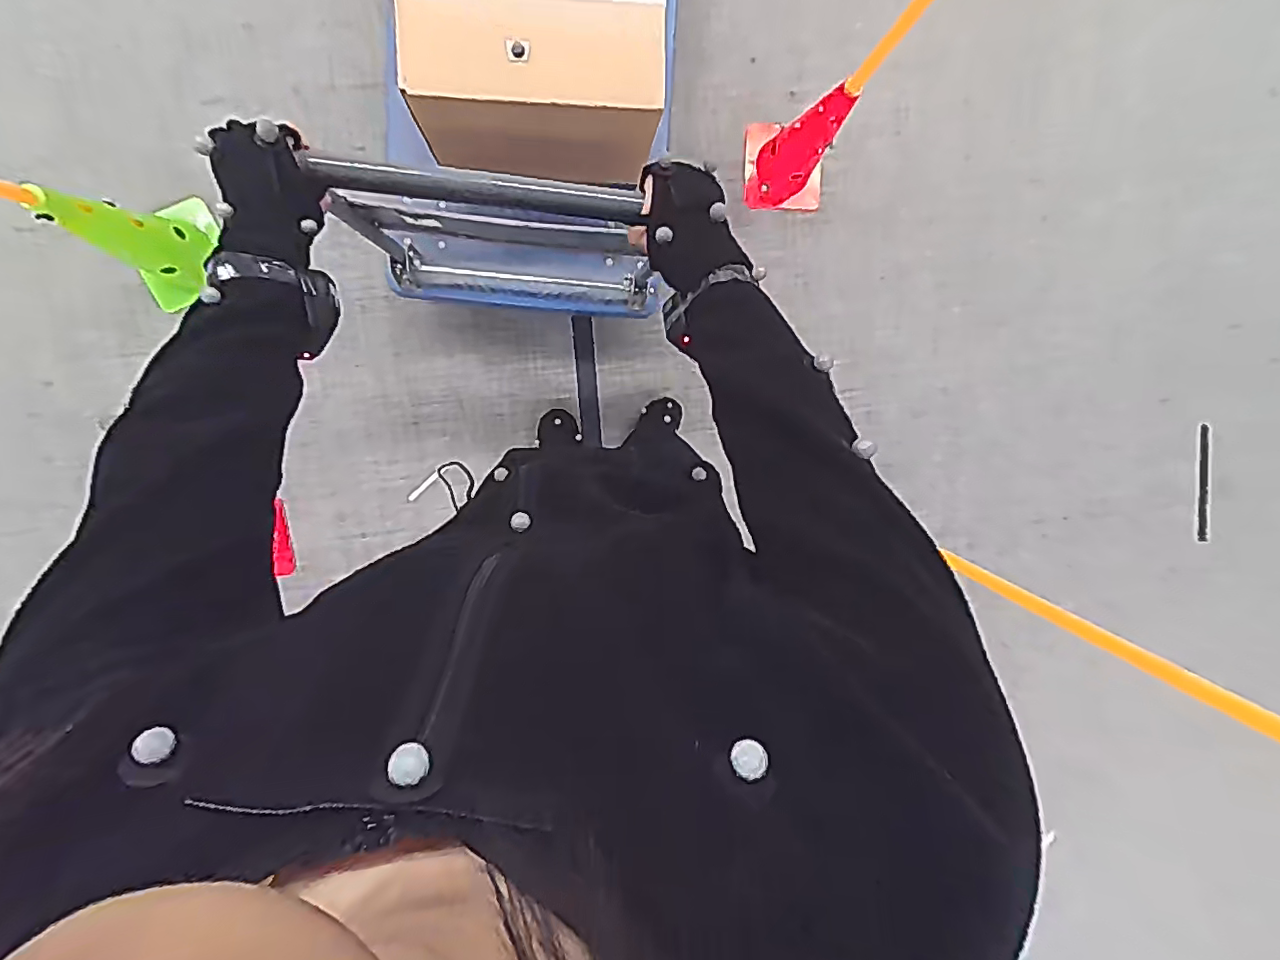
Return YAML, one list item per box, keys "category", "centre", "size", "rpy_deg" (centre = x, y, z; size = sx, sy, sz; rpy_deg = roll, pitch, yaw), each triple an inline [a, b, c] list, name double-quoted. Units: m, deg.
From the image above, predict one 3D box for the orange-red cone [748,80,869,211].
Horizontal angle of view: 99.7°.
- category: "orange-red cone"
  centre: [0.398, -0.766, 1.198]
  size: [0.199, 0.360, 0.198]
  rpy_deg: [0, 98, -8]
